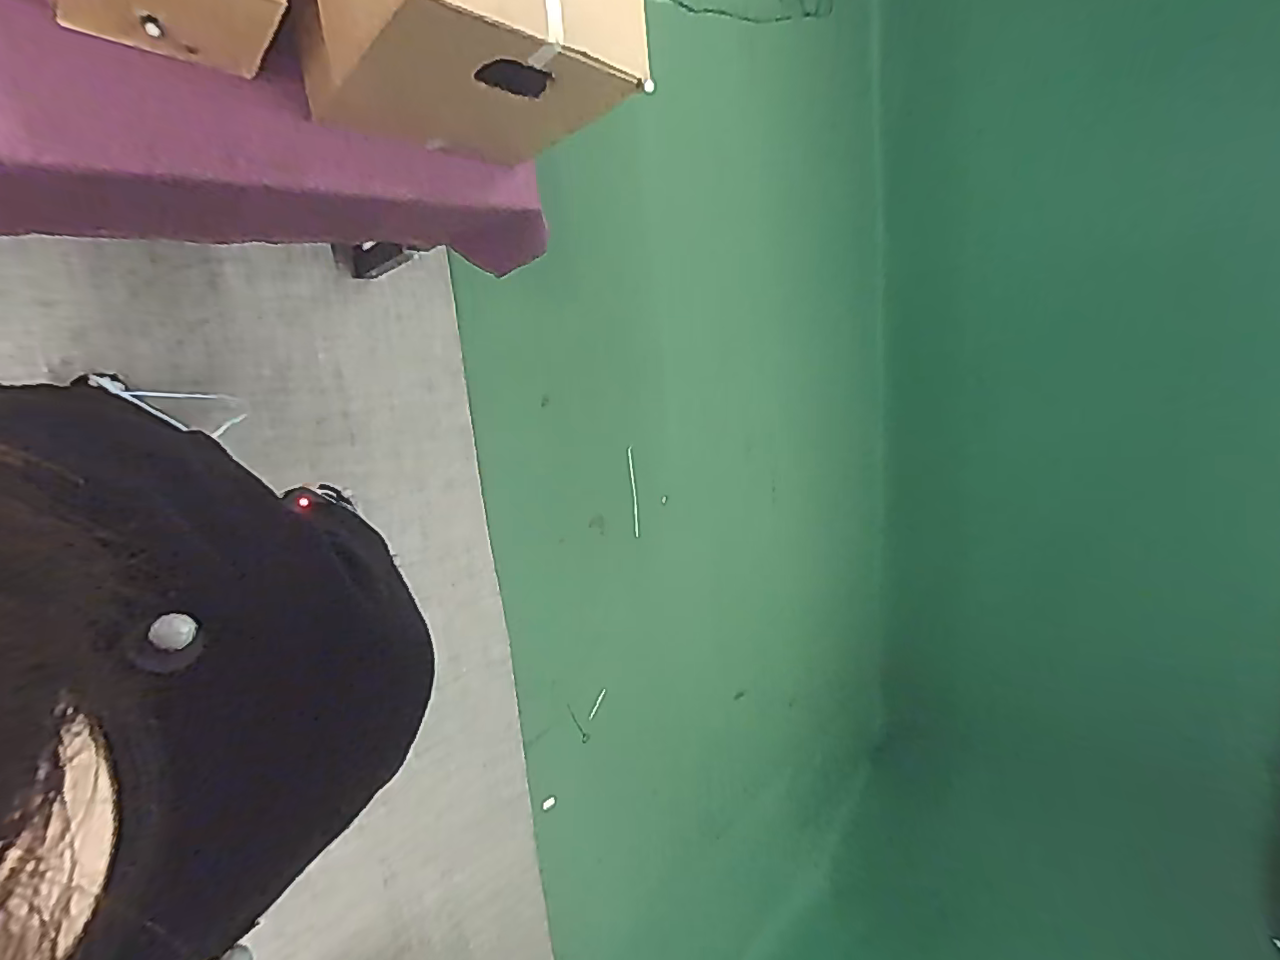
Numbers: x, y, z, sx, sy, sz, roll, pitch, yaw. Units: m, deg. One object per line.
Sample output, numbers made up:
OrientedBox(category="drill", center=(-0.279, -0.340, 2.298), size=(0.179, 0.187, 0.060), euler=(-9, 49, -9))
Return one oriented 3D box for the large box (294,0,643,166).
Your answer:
OrientedBox(category="large box", center=(-0.227, -0.674, 0.661), size=(0.320, 0.320, 0.408), euler=(-17, 107, -43))
